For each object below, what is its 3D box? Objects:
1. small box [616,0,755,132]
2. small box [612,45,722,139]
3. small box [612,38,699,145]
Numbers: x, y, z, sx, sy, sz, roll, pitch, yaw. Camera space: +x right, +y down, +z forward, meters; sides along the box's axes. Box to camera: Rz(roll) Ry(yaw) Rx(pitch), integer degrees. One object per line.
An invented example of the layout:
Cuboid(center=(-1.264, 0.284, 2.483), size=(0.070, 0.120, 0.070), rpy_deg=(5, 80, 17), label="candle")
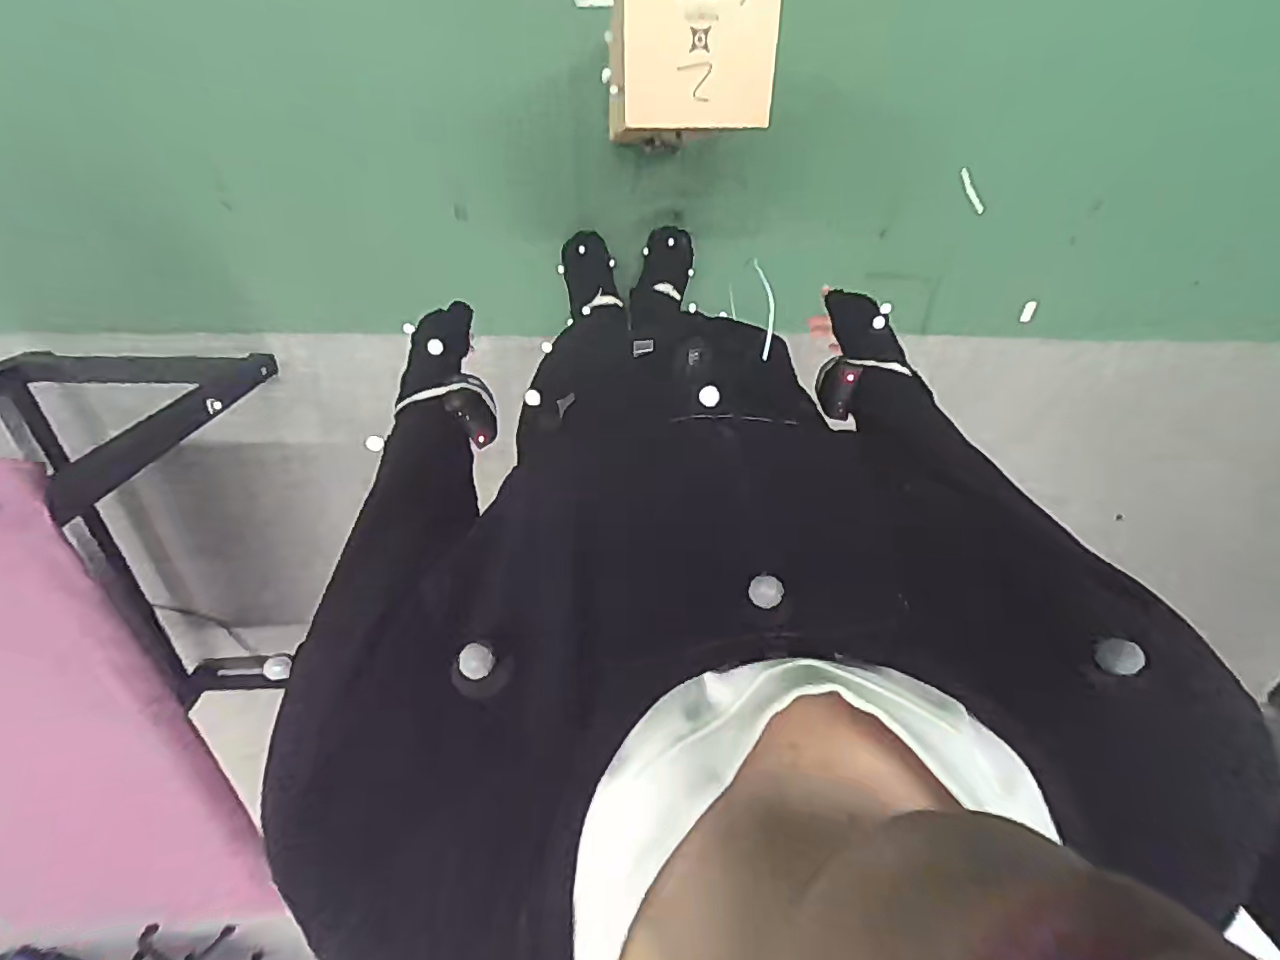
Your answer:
Cuboid(center=(0.053, -0.601, 0.773), size=(0.179, 0.176, 0.168), rpy_deg=(-2, 120, -4), label="small box")
Cuboid(center=(0.047, -0.681, 0.912), size=(0.179, 0.176, 0.168), rpy_deg=(1, 119, -5), label="small box")
Cuboid(center=(0.031, -0.763, 1.056), size=(0.168, 0.176, 0.179), rpy_deg=(0, 121, -3), label="small box")
